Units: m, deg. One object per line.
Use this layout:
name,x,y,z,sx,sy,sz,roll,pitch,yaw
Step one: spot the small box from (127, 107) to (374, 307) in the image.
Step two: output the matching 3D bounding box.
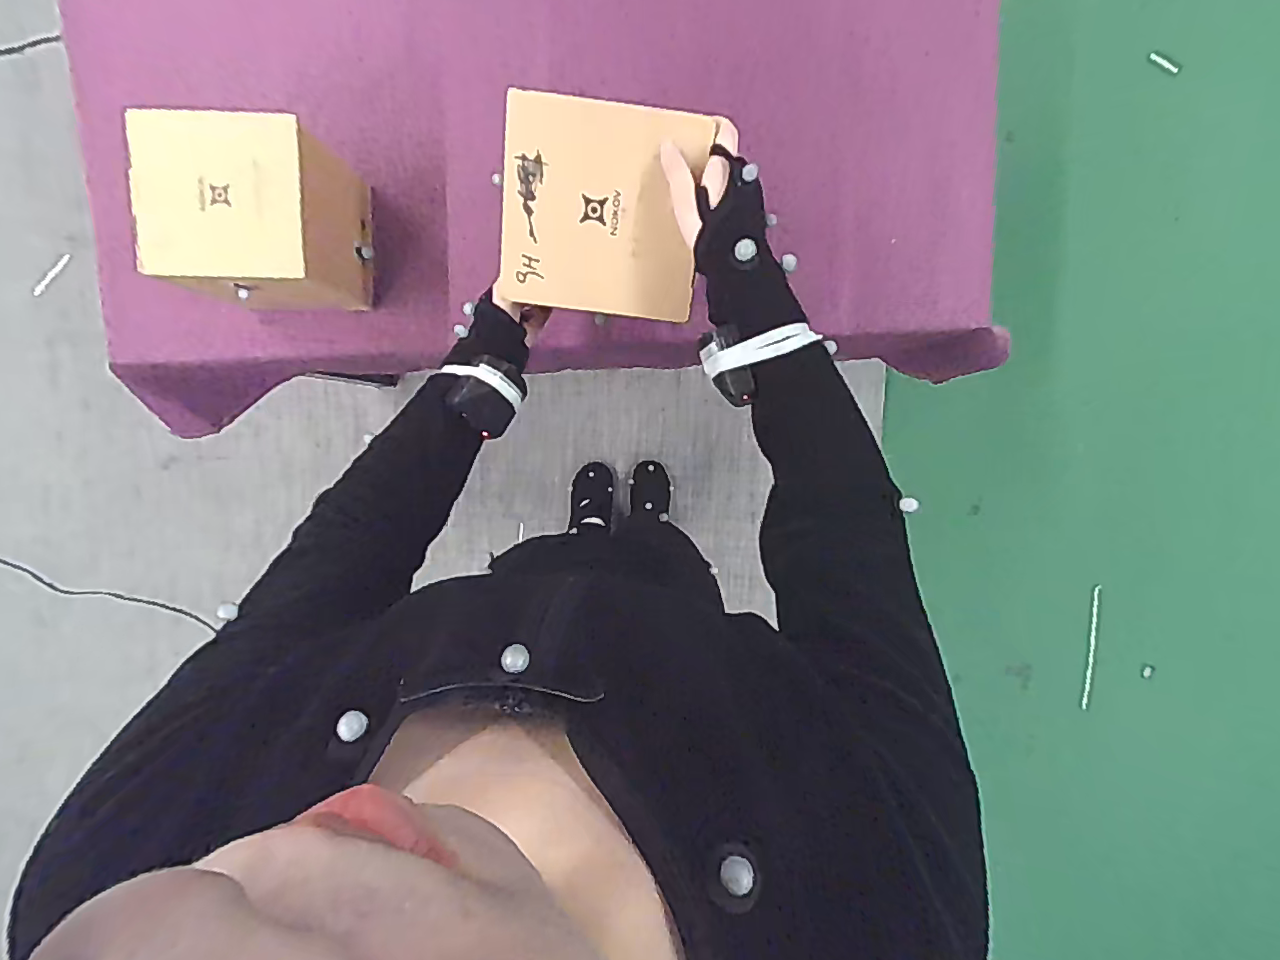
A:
small box,-0.442,-0.307,0.642,0.179,0.176,0.168,1,97,-2
